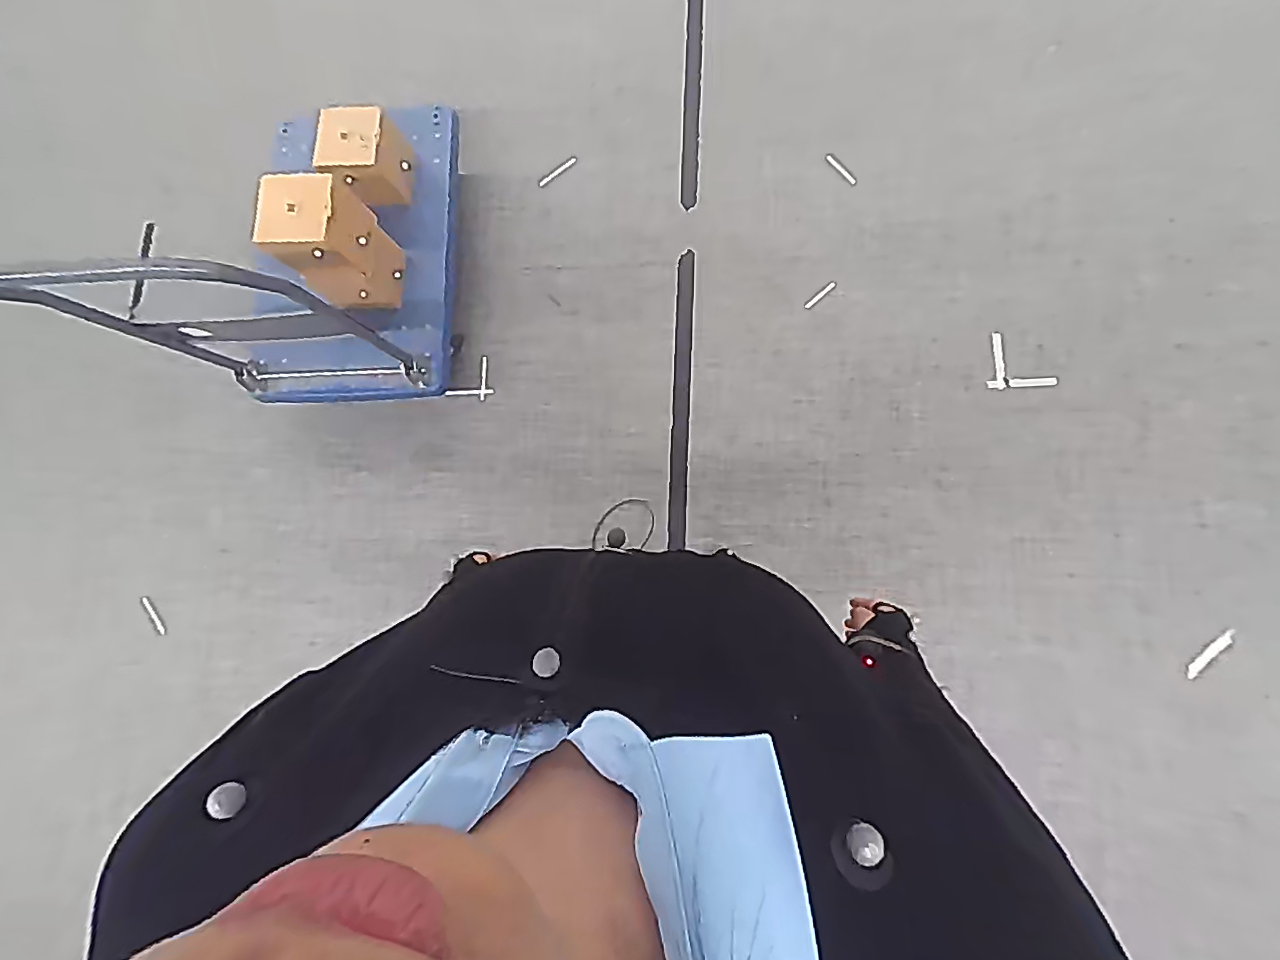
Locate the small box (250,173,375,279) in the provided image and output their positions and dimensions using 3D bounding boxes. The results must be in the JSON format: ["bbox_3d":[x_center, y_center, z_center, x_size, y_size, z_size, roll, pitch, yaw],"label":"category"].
[{"bbox_3d":[-0.759,-0.587,1.267,0.179,0.176,0.168,1,83,5],"label":"small box"}]

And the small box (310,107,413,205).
[{"bbox_3d":[-0.749,-0.871,1.467,0.179,0.176,0.168,3,84,7],"label":"small box"}]
